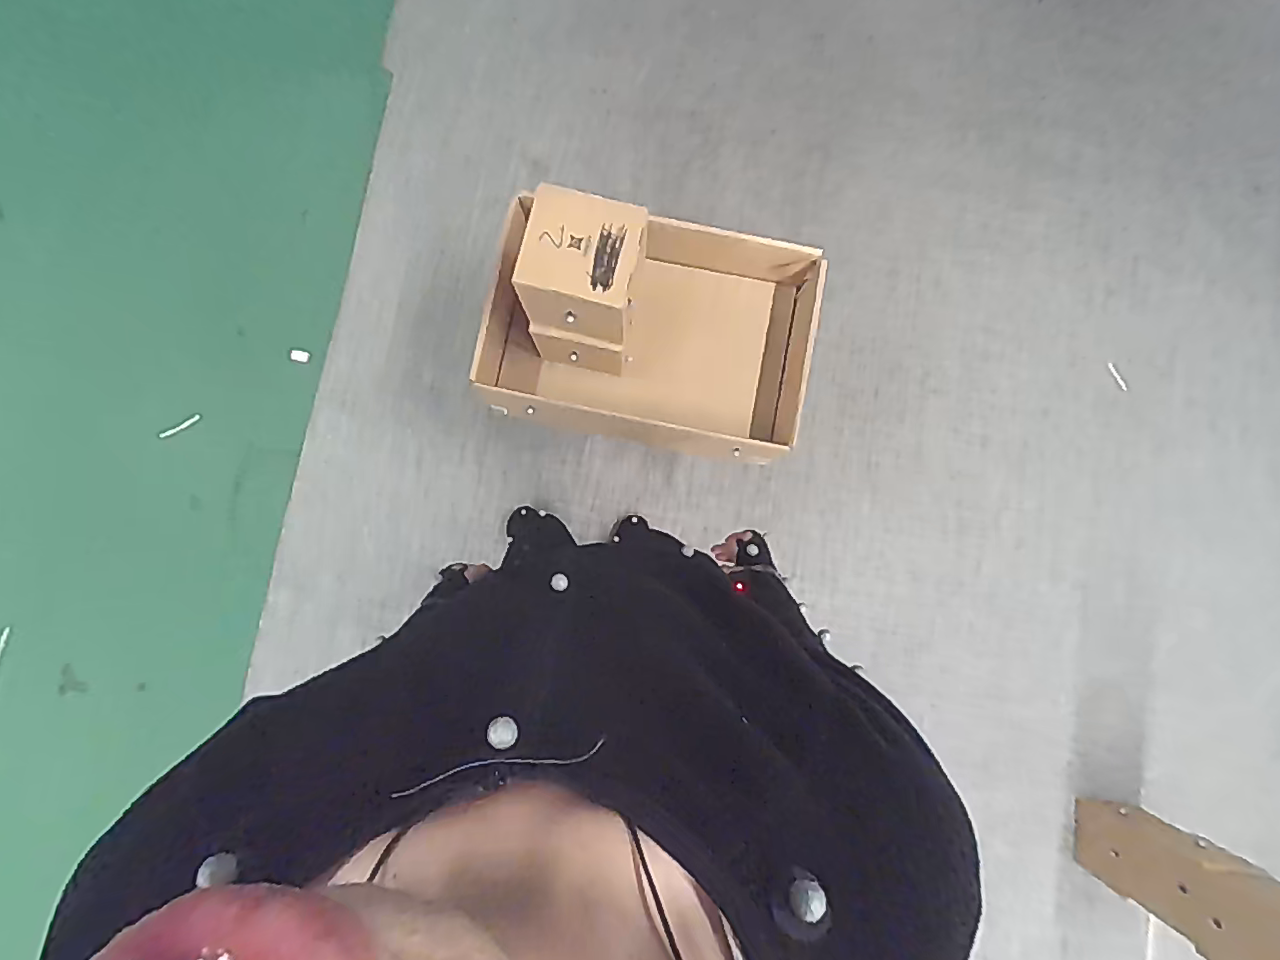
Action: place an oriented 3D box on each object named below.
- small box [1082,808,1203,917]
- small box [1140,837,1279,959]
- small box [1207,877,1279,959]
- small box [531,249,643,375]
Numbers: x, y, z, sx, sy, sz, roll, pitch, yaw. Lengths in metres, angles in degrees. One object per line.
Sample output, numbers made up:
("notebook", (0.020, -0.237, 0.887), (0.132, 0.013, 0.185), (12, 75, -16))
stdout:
("small box", (1.274, 0.970, 1.375), (0.168, 0.176, 0.179), (9, 84, 0))
("small box", (1.279, 0.942, 1.214), (0.168, 0.176, 0.179), (9, 83, 1))
("small box", (1.267, 0.925, 1.051), (0.168, 0.176, 0.179), (7, 84, 0))
("small box", (-0.098, -0.316, 1.056), (0.179, 0.176, 0.168), (13, 84, 0))
